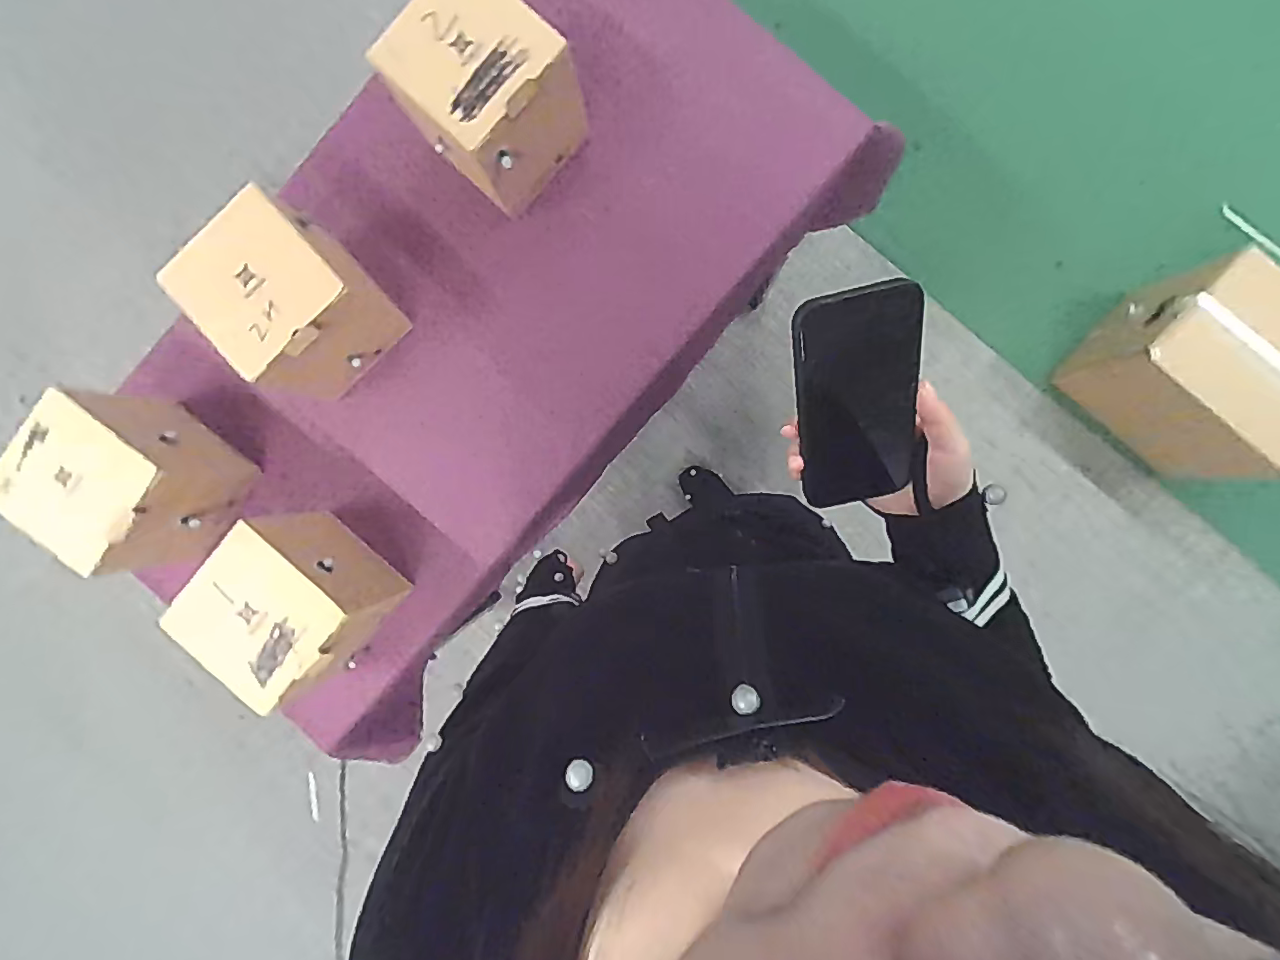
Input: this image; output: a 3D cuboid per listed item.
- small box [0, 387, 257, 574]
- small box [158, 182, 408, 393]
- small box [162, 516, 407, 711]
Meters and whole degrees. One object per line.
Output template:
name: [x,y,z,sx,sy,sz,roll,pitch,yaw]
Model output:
small box: [-0.681,-0.002,0.733,0.179,0.176,0.168,37,92,1]
small box: [-0.454,-0.236,0.716,0.168,0.176,0.179,-42,89,3]
small box: [-0.454,0.160,0.723,0.179,0.176,0.168,40,92,3]
